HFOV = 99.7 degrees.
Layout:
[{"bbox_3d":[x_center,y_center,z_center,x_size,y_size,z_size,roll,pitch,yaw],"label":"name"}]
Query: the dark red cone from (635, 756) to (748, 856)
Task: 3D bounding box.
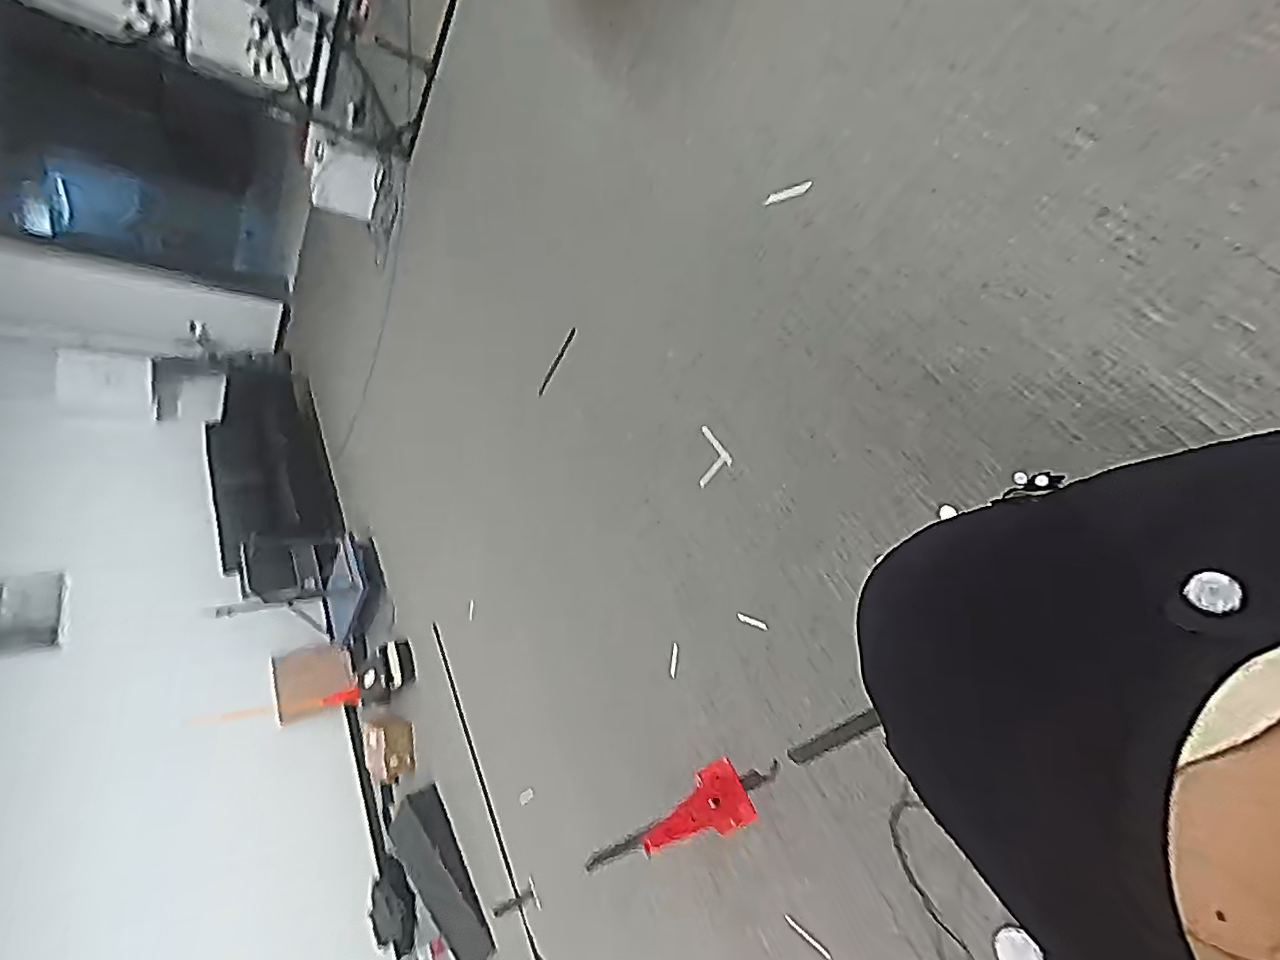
[{"bbox_3d":[0.133,1.032,1.653,0.202,0.394,0.201,-51,57,33],"label":"dark red cone"}]
